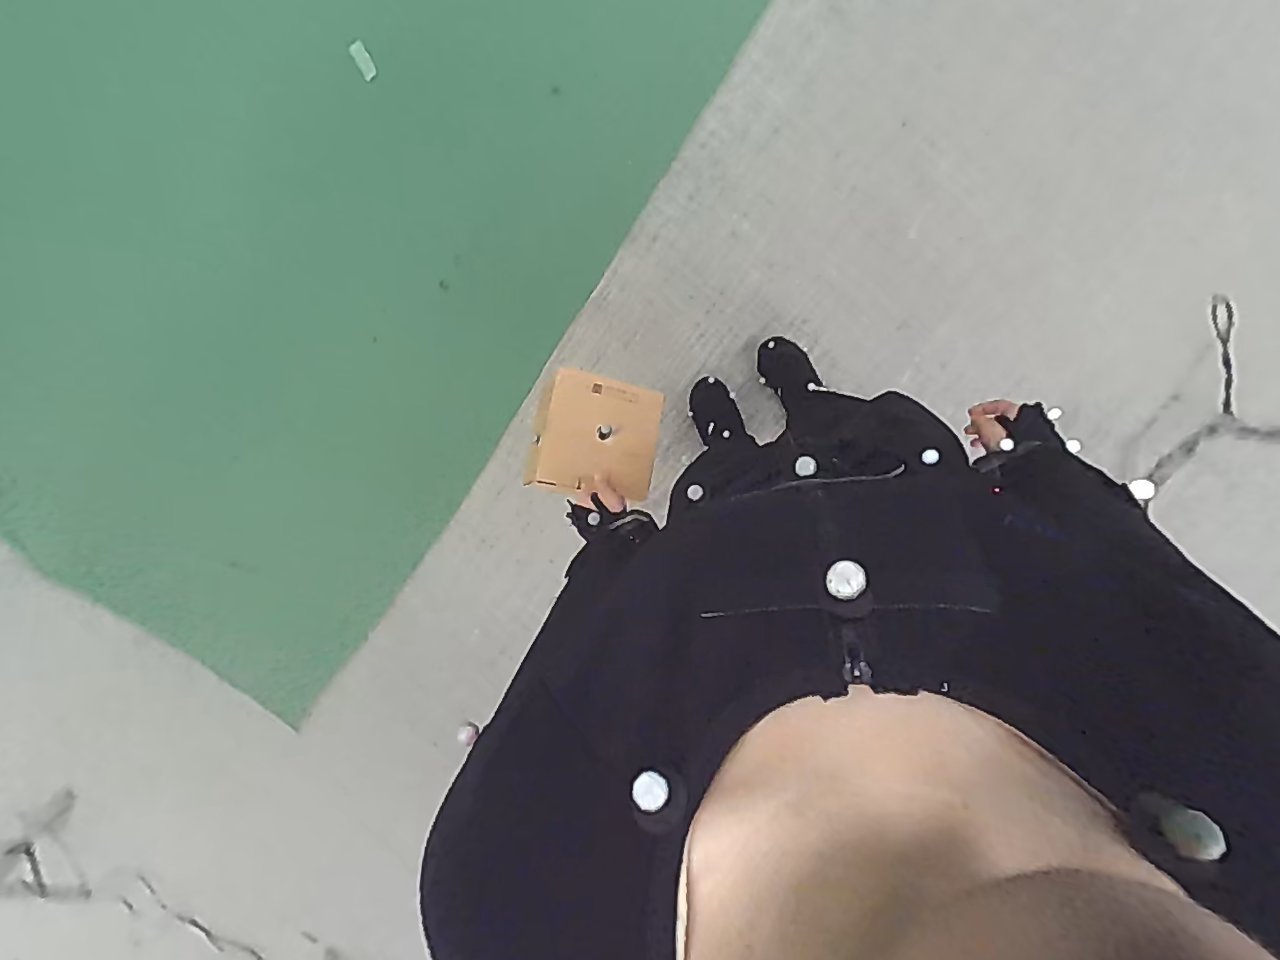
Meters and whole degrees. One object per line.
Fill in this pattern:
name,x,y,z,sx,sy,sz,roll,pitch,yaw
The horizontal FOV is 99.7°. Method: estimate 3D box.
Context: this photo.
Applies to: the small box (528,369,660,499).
small box,-0.074,-0.066,0.853,0.168,0.179,0.176,10,85,-18
